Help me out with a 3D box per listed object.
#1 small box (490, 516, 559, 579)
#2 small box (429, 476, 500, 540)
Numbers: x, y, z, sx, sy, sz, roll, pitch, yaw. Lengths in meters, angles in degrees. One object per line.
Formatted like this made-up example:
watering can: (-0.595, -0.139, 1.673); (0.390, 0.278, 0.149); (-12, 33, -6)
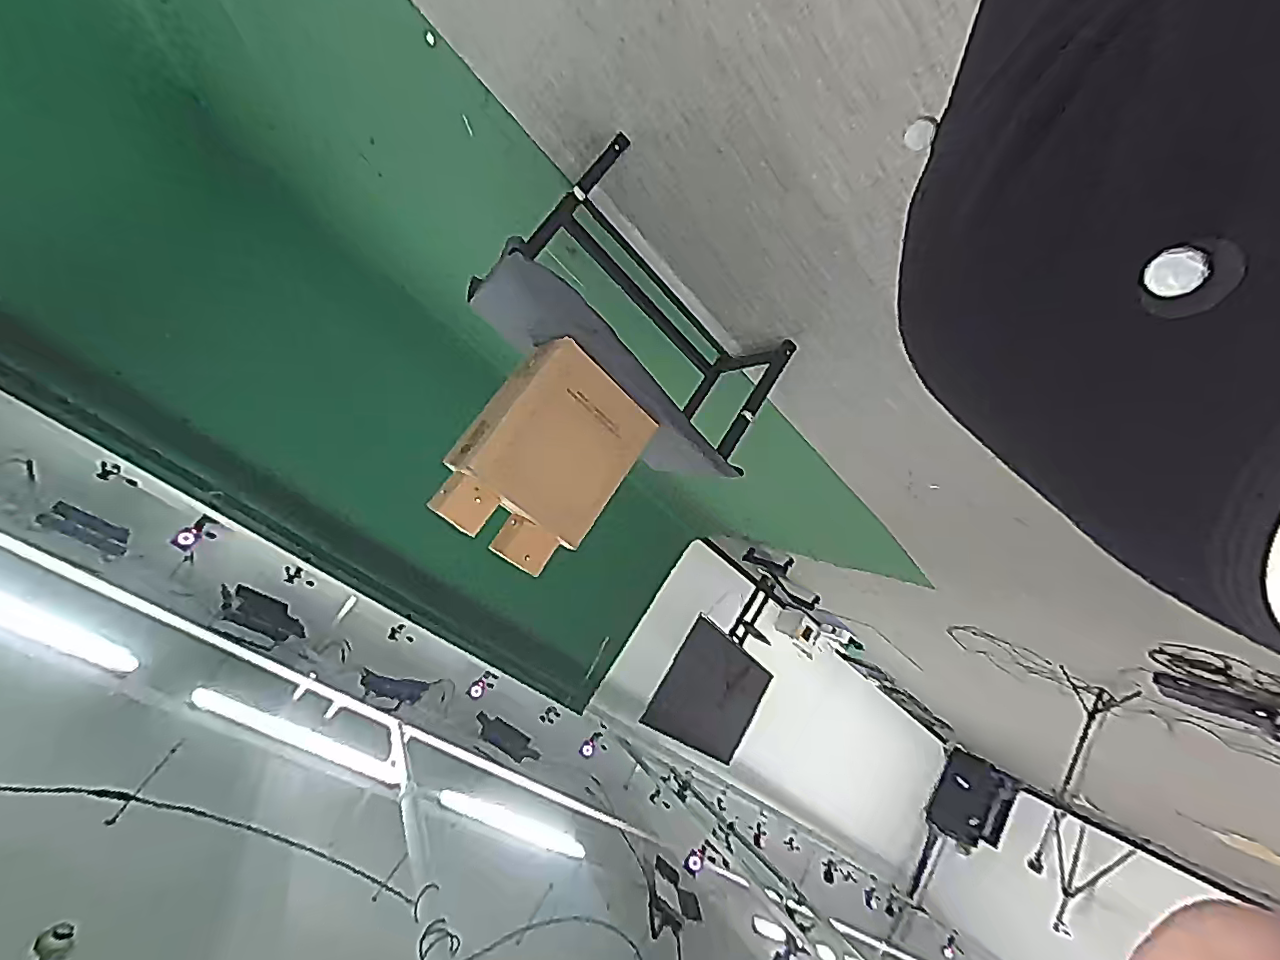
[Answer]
small box: (-0.454, 0.265, 2.146); (0.179, 0.176, 0.168); (43, 160, -29)
small box: (-0.653, 0.098, 2.021); (0.168, 0.176, 0.179); (43, 161, -28)
